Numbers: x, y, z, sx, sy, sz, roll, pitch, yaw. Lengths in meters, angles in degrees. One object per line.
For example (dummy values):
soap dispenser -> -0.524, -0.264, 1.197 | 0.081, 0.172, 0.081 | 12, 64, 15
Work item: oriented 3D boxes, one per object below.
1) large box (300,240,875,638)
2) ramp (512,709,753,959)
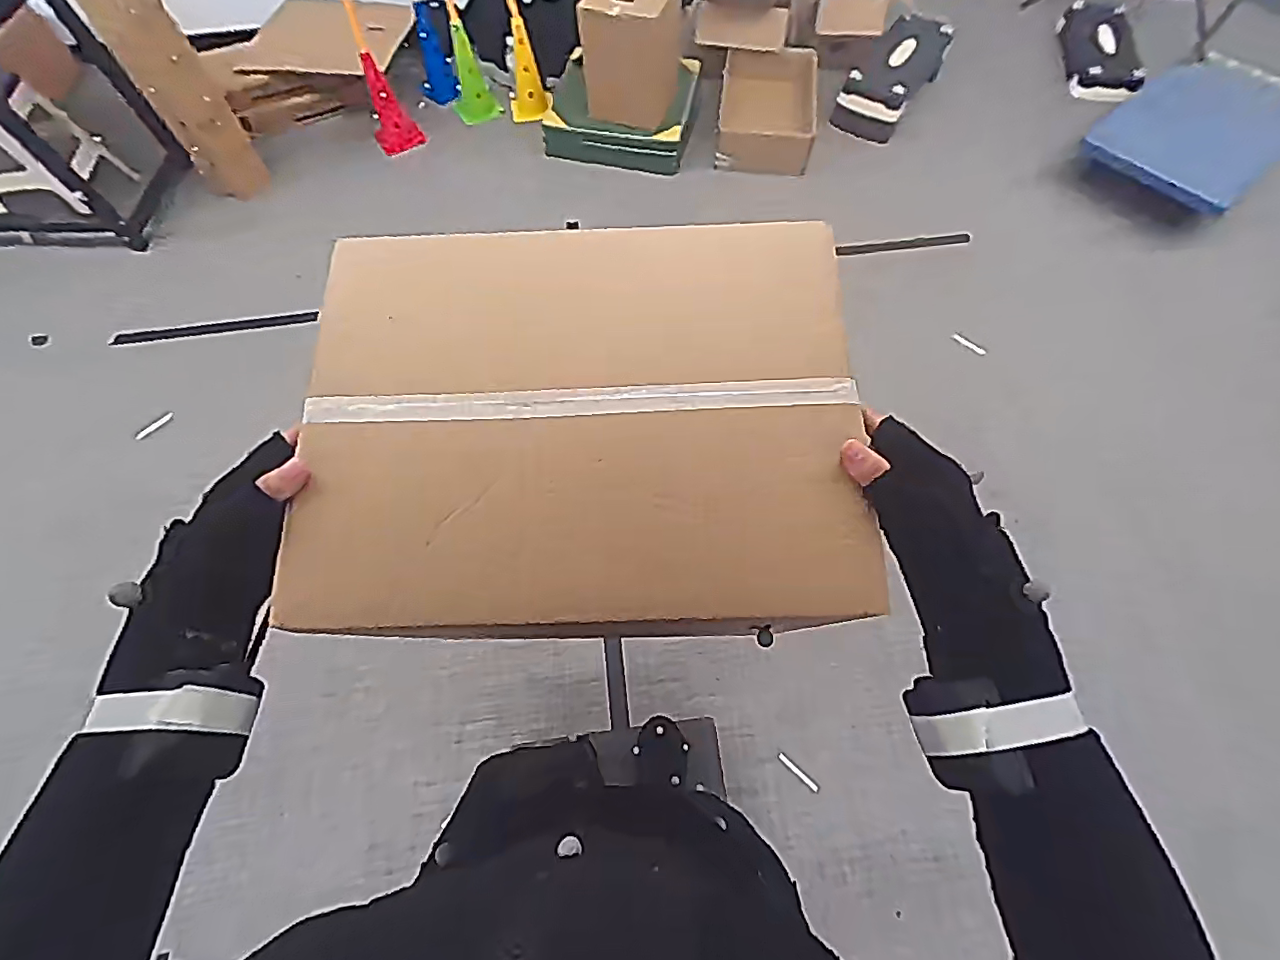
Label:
large box -> -0.036, -0.004, 0.553 | 0.408, 0.320, 0.320 | -1, 72, 2
ramp -> 0.005, 1.058, 1.176 | 0.509, 0.206, 0.991 | -8, 66, -4
